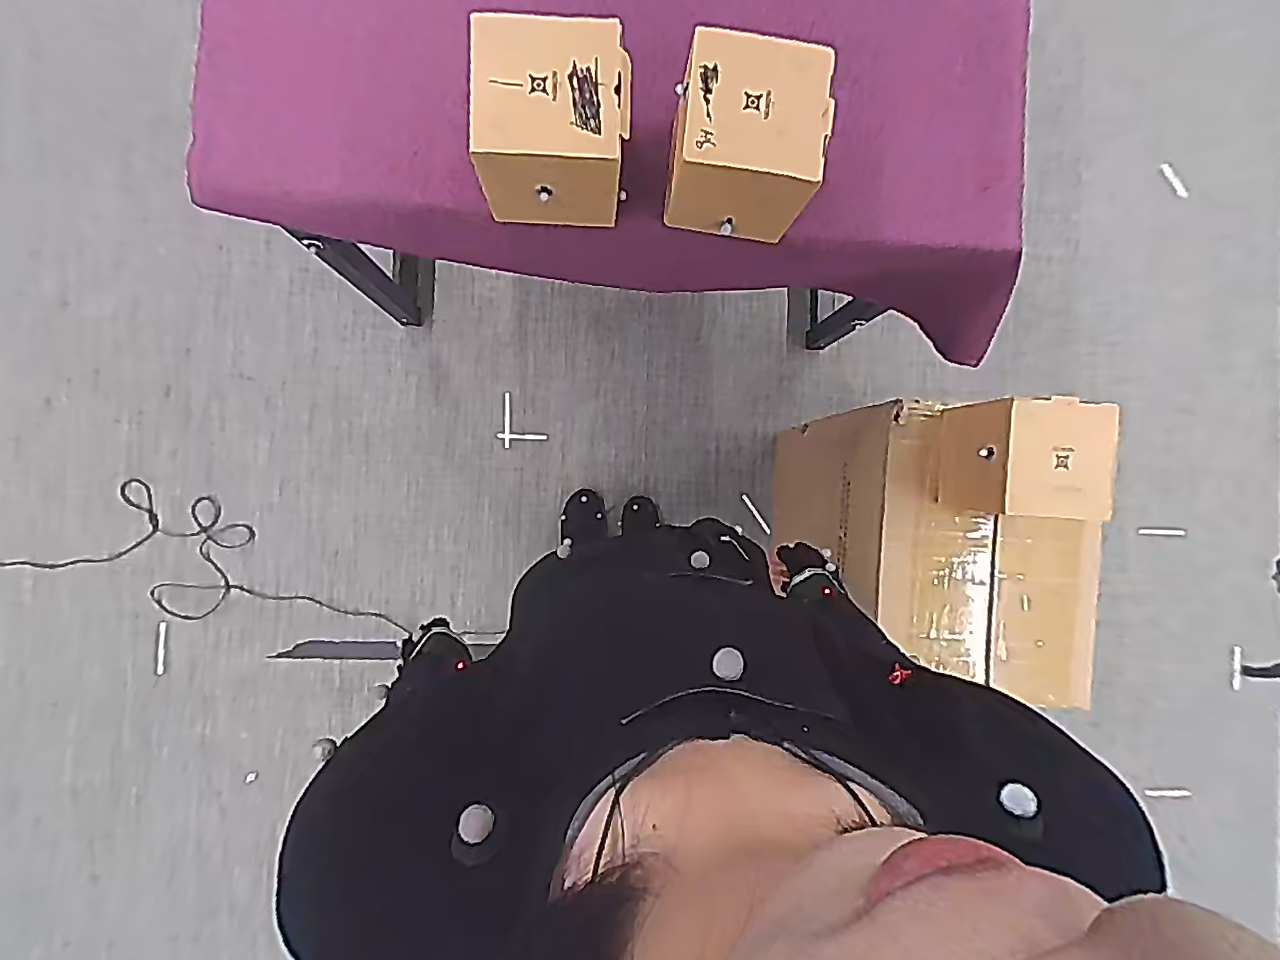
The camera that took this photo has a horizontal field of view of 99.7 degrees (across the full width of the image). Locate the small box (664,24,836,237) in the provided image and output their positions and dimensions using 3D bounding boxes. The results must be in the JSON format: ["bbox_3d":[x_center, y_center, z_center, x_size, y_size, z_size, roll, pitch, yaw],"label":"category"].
[{"bbox_3d":[0.137,-0.450,0.728,0.179,0.176,0.168,6,88,-5],"label":"small box"}]

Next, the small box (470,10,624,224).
[{"bbox_3d":[-0.113,-0.455,0.706,0.179,0.176,0.168,1,88,-4],"label":"small box"}]

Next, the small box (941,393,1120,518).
[{"bbox_3d":[0.611,-0.036,0.865,0.168,0.176,0.179,3,91,-2],"label":"small box"}]
